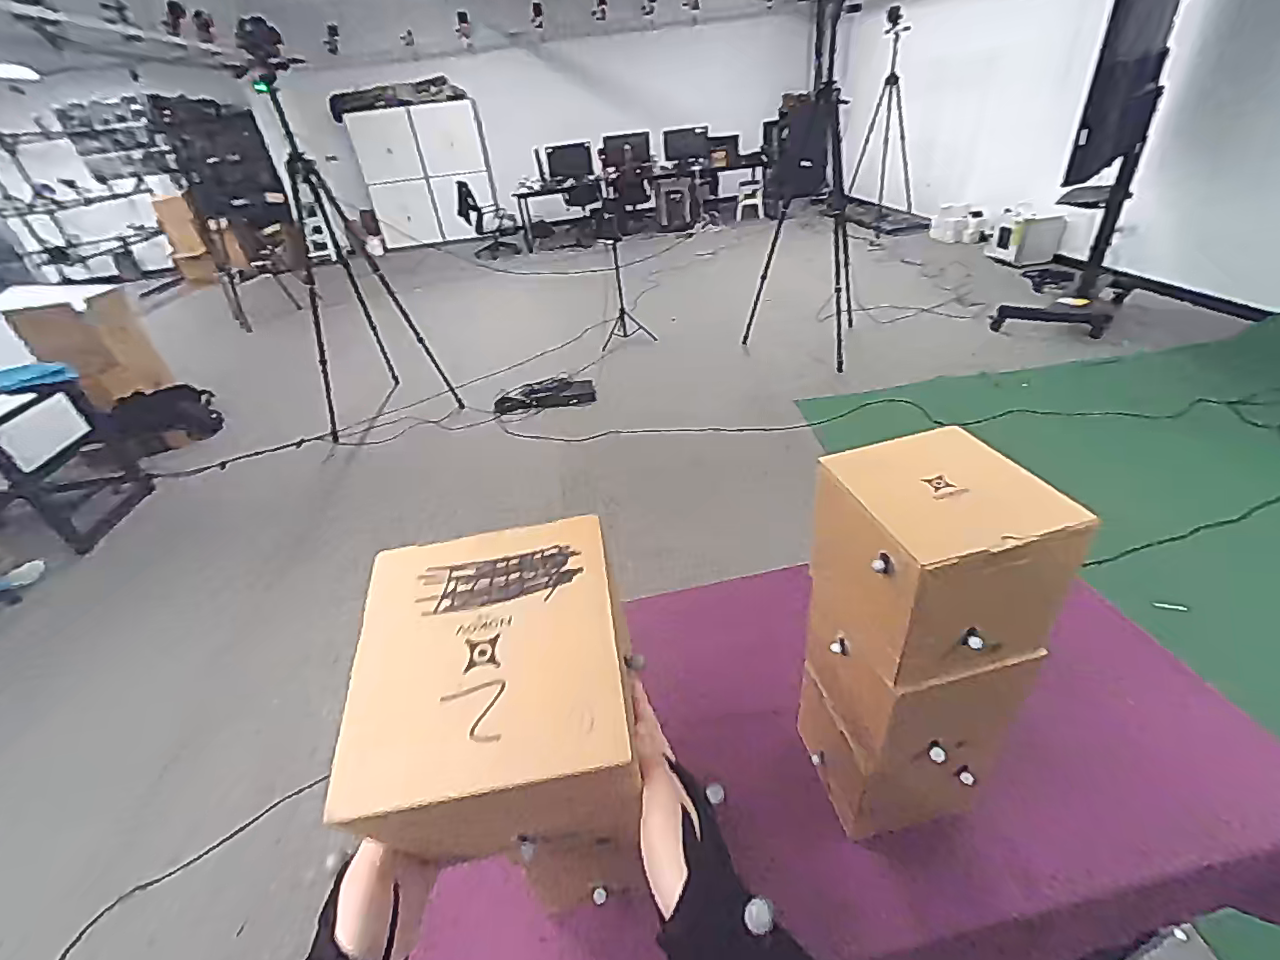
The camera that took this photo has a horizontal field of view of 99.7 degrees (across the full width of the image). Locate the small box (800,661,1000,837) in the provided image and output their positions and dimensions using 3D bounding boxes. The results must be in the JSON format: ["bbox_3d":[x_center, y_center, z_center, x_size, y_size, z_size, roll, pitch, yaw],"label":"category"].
[{"bbox_3d":[0.333,0.346,0.734,0.179,0.176,0.168,-11,34,-5],"label":"small box"}]

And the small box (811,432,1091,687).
[{"bbox_3d":[0.292,0.076,0.558,0.168,0.176,0.179,-13,36,-7],"label":"small box"}]

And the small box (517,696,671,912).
[{"bbox_3d":[-0.058,0.418,0.707,0.168,0.176,0.179,-10,35,-3],"label":"small box"}]

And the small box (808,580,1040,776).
[{"bbox_3d":[0.314,0.211,0.645,0.168,0.176,0.179,-12,35,-5],"label":"small box"}]

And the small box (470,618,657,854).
[{"bbox_3d":[-0.078,0.289,0.608,0.168,0.176,0.179,-9,35,-3],"label":"small box"}]
